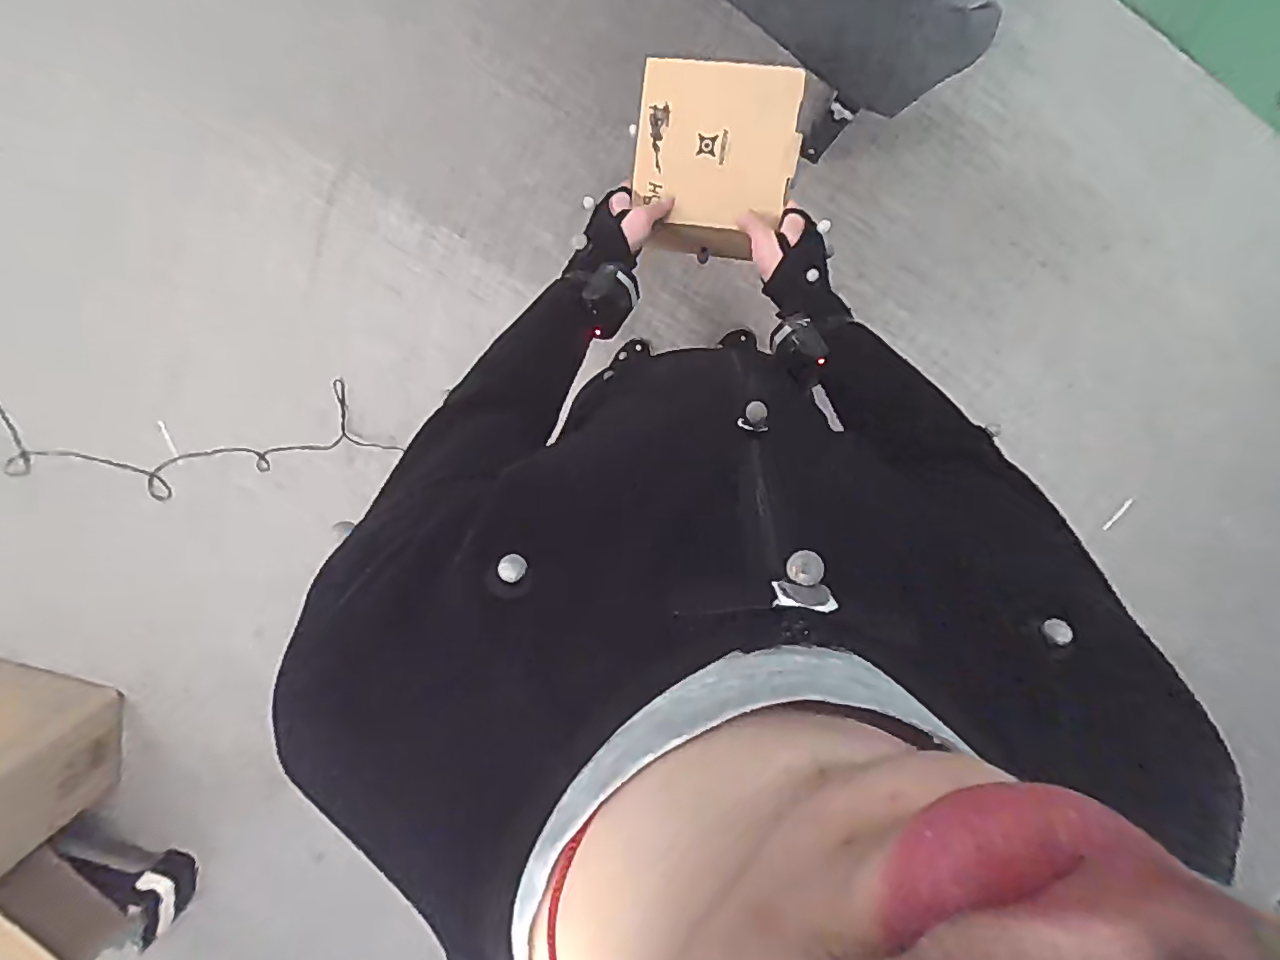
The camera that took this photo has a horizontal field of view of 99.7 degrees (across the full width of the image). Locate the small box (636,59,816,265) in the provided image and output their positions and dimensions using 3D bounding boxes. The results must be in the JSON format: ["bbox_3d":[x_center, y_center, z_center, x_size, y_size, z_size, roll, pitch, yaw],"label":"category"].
[{"bbox_3d":[0.093,-0.367,0.659,0.179,0.176,0.168,6,101,2],"label":"small box"}]
